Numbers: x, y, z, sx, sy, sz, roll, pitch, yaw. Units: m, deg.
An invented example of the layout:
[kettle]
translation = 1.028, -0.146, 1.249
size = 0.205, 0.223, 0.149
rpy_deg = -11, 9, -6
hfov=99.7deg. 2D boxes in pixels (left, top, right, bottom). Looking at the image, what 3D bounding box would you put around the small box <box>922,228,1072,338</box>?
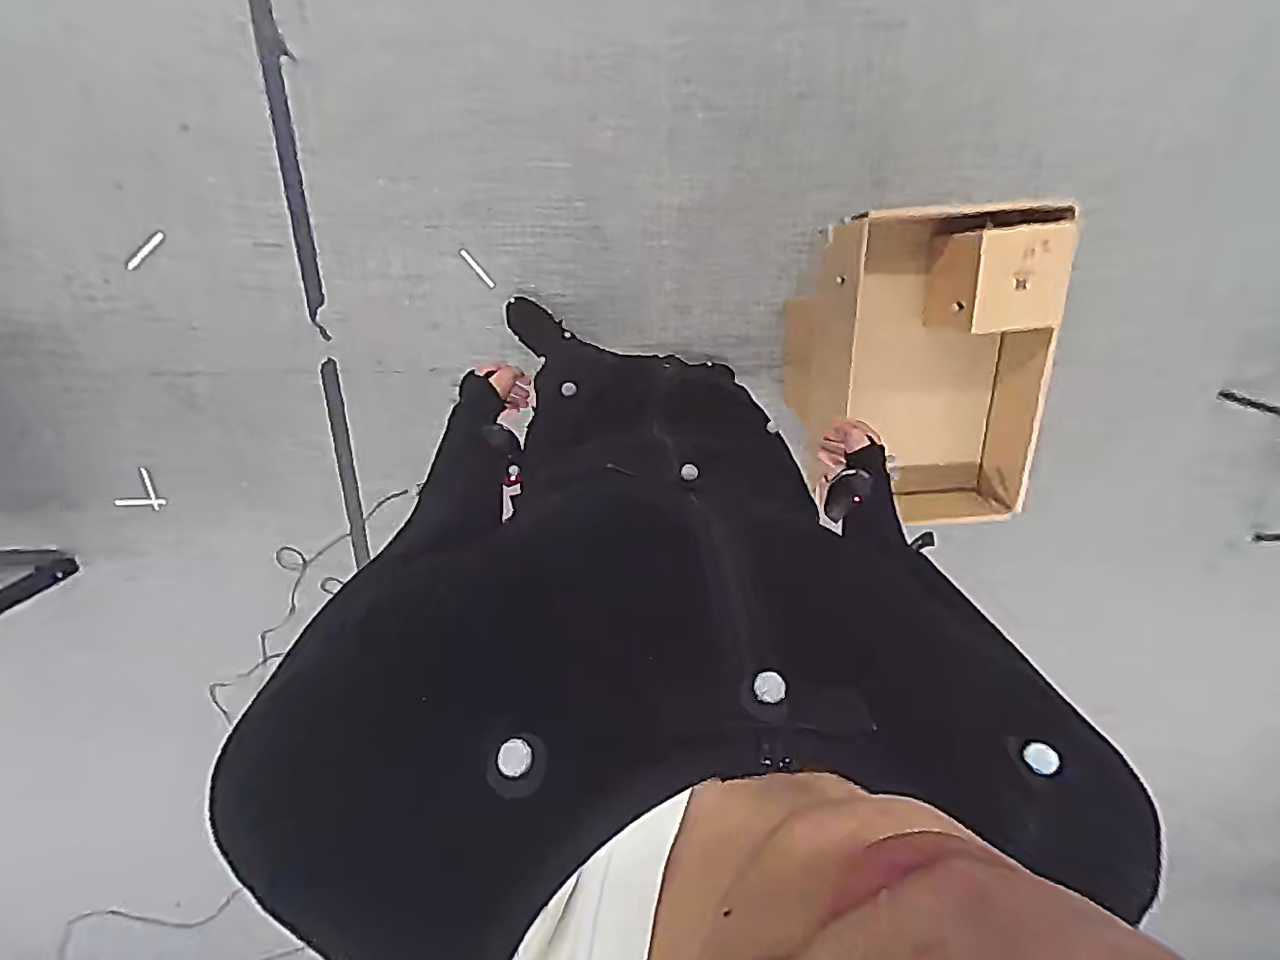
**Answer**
[small box]
translation = 0.665, -0.376, 1.031
size = 0.168, 0.176, 0.179
rpy_deg = -5, 110, -1
